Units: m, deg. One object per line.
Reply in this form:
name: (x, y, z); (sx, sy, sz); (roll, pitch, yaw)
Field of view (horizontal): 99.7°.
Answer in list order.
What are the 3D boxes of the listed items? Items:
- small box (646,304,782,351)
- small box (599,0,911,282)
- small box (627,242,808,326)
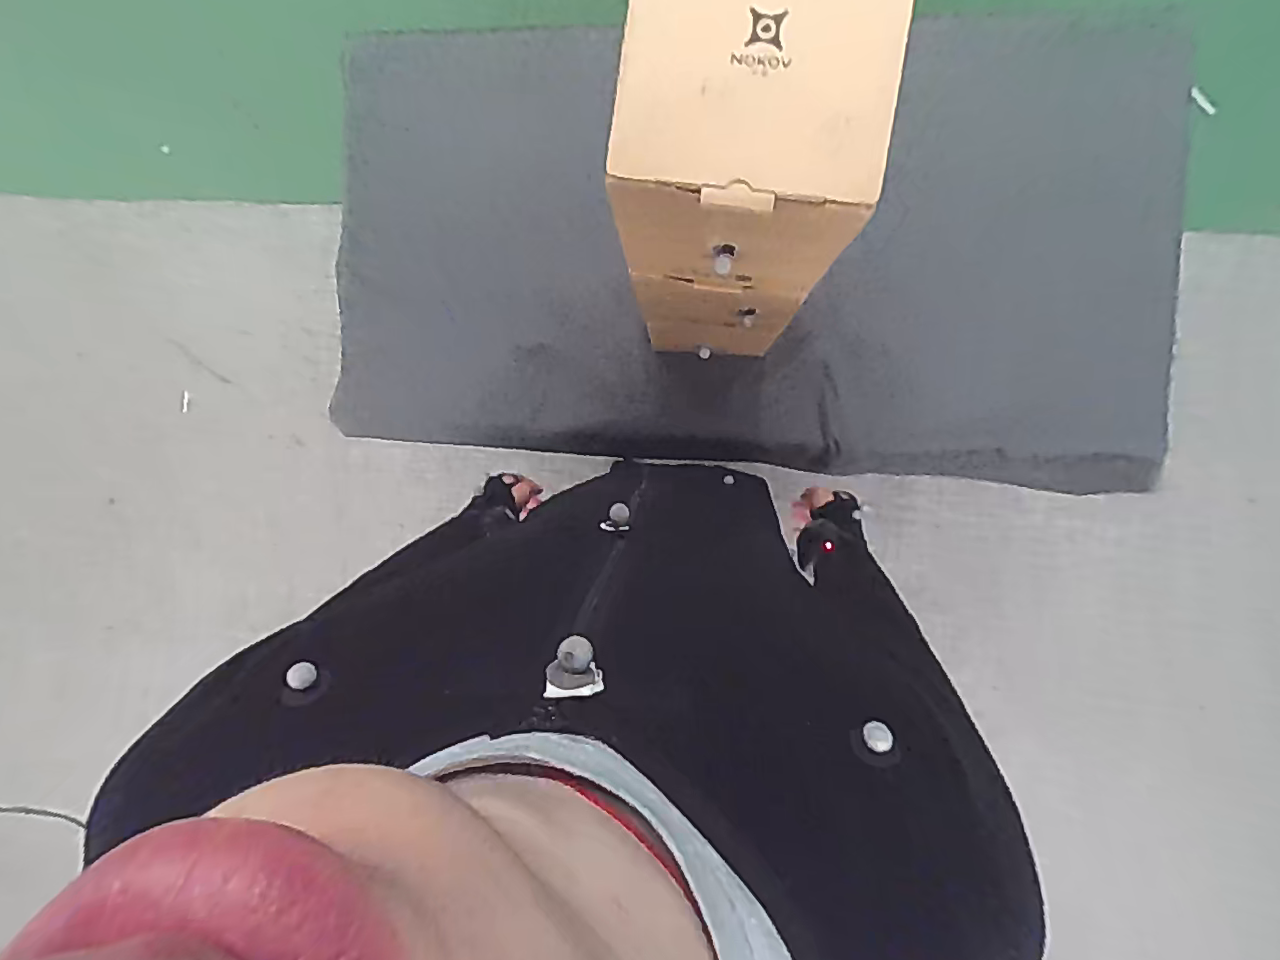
small box: (0.100, -0.280, 0.718); (0.168, 0.176, 0.179); (5, 94, 5)
small box: (0.075, -0.260, 0.395); (0.168, 0.176, 0.179); (10, 95, 4)
small box: (0.086, -0.268, 0.558); (0.168, 0.176, 0.179); (8, 93, 4)
